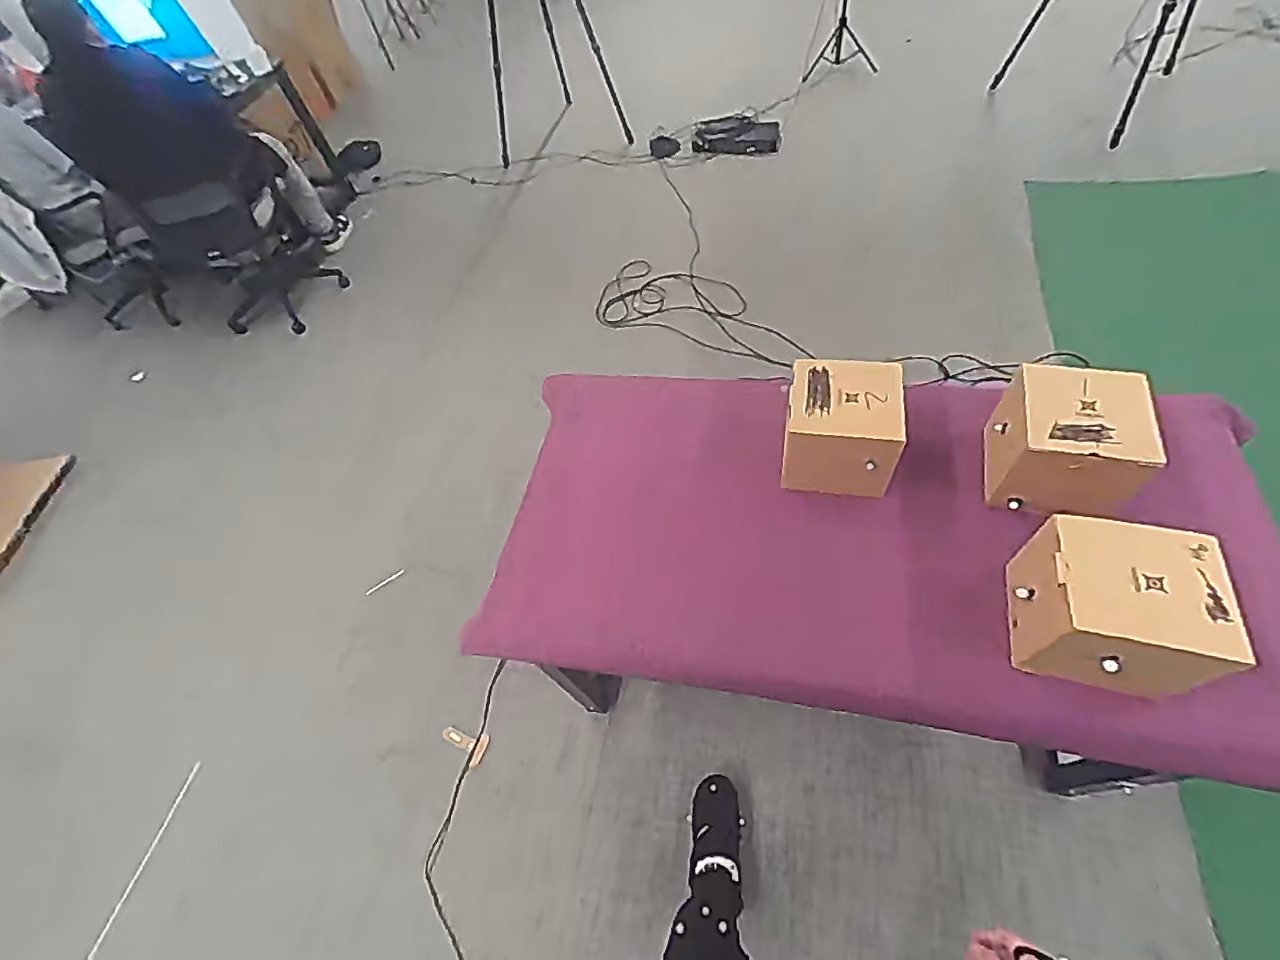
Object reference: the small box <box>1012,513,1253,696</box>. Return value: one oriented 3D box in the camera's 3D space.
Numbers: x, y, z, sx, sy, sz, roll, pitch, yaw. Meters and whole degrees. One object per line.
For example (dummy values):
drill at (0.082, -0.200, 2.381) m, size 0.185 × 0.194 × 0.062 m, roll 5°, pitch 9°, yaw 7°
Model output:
small box at (0.616, 0.166, 0.712) m, size 0.179 × 0.176 × 0.168 m, roll 9°, pitch 58°, yaw 17°

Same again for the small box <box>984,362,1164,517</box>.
small box at (0.667, -0.058, 0.856) m, size 0.168 × 0.176 × 0.179 m, roll 10°, pitch 59°, yaw 17°
